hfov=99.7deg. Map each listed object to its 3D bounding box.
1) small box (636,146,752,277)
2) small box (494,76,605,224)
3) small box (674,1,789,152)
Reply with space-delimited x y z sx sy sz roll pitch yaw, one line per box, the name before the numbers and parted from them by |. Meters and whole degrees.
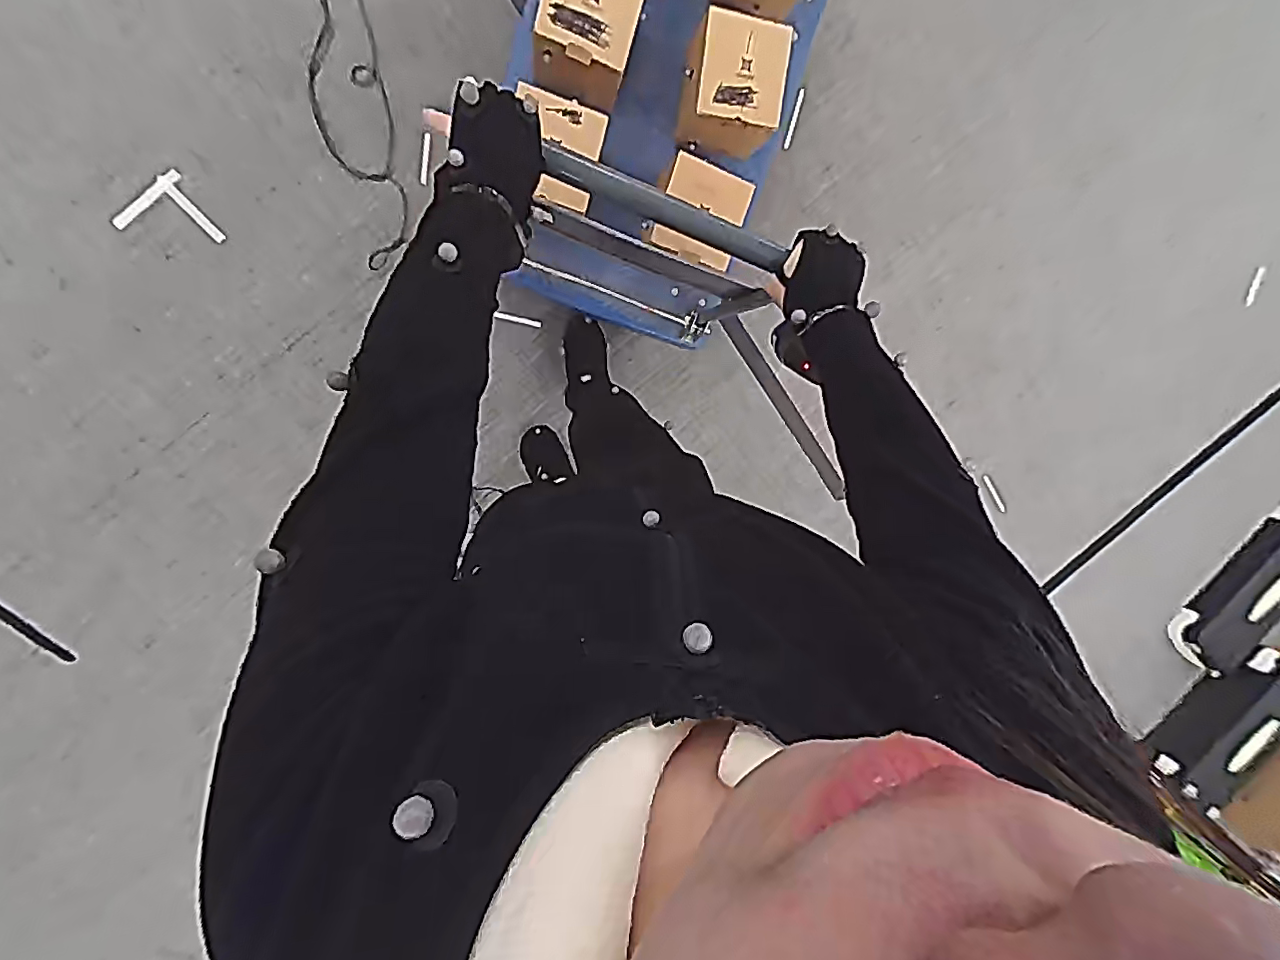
small box | 0.101 -0.542 1.122 0.168 0.176 0.179 17 99 -15
small box | -0.176 -0.620 1.045 0.168 0.176 0.179 13 101 -15
small box | 0.173 -0.785 1.077 0.168 0.176 0.179 5 101 -13
